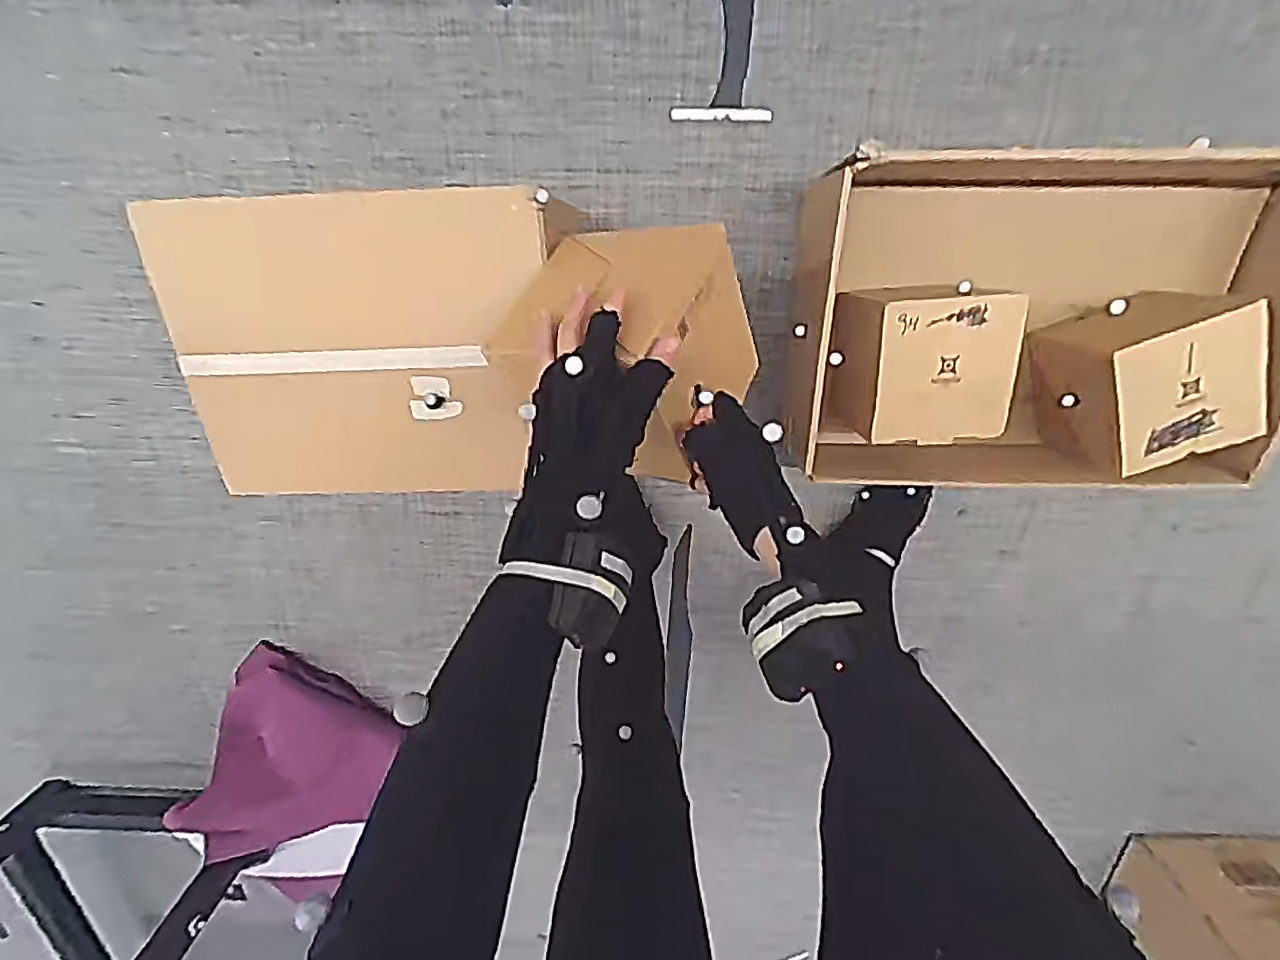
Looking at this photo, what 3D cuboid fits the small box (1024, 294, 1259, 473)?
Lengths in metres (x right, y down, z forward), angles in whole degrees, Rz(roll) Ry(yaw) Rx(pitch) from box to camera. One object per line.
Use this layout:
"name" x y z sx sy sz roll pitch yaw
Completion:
"small box" 0.664 -0.138 0.736 0.168 0.176 0.179 -19 110 10

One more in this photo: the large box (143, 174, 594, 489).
"large box" -0.283 -0.196 0.715 0.408 0.320 0.320 -2 113 2
